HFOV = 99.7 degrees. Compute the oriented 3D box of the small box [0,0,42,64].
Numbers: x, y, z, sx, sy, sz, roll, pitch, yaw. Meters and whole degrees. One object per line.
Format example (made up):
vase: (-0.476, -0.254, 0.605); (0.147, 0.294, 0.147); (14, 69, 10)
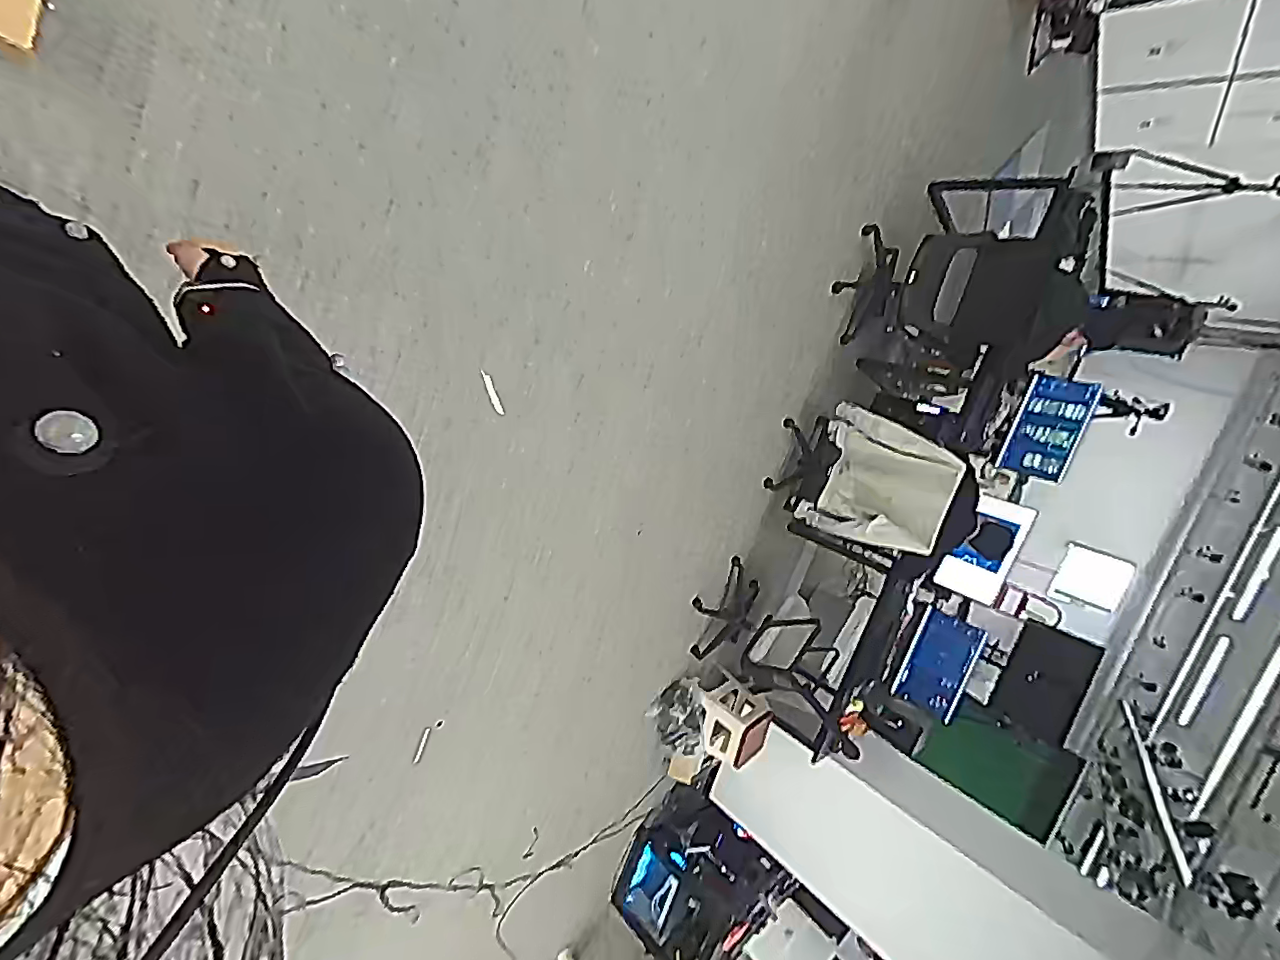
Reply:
small box: (-0.987, -0.746, 0.777); (0.168, 0.176, 0.179); (10, 101, -50)
